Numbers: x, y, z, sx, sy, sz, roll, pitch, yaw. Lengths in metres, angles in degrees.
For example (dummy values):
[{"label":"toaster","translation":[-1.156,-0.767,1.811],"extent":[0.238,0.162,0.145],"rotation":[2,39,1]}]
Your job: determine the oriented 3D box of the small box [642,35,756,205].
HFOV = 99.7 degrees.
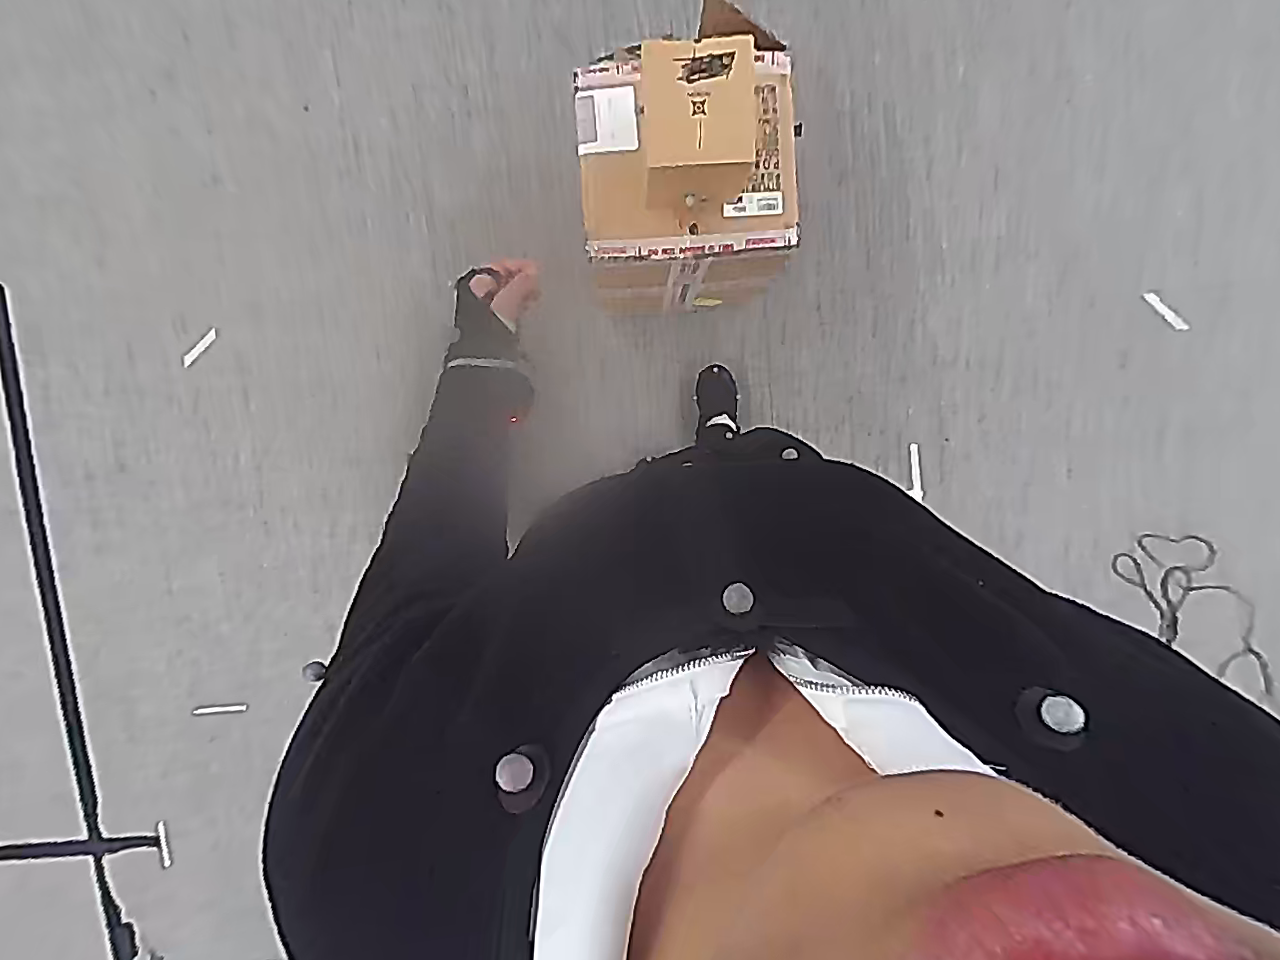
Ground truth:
[{"label":"small box","translation":[0.088,-0.571,0.878],"extent":[0.168,0.176,0.179],"rotation":[-3,98,0]}]
